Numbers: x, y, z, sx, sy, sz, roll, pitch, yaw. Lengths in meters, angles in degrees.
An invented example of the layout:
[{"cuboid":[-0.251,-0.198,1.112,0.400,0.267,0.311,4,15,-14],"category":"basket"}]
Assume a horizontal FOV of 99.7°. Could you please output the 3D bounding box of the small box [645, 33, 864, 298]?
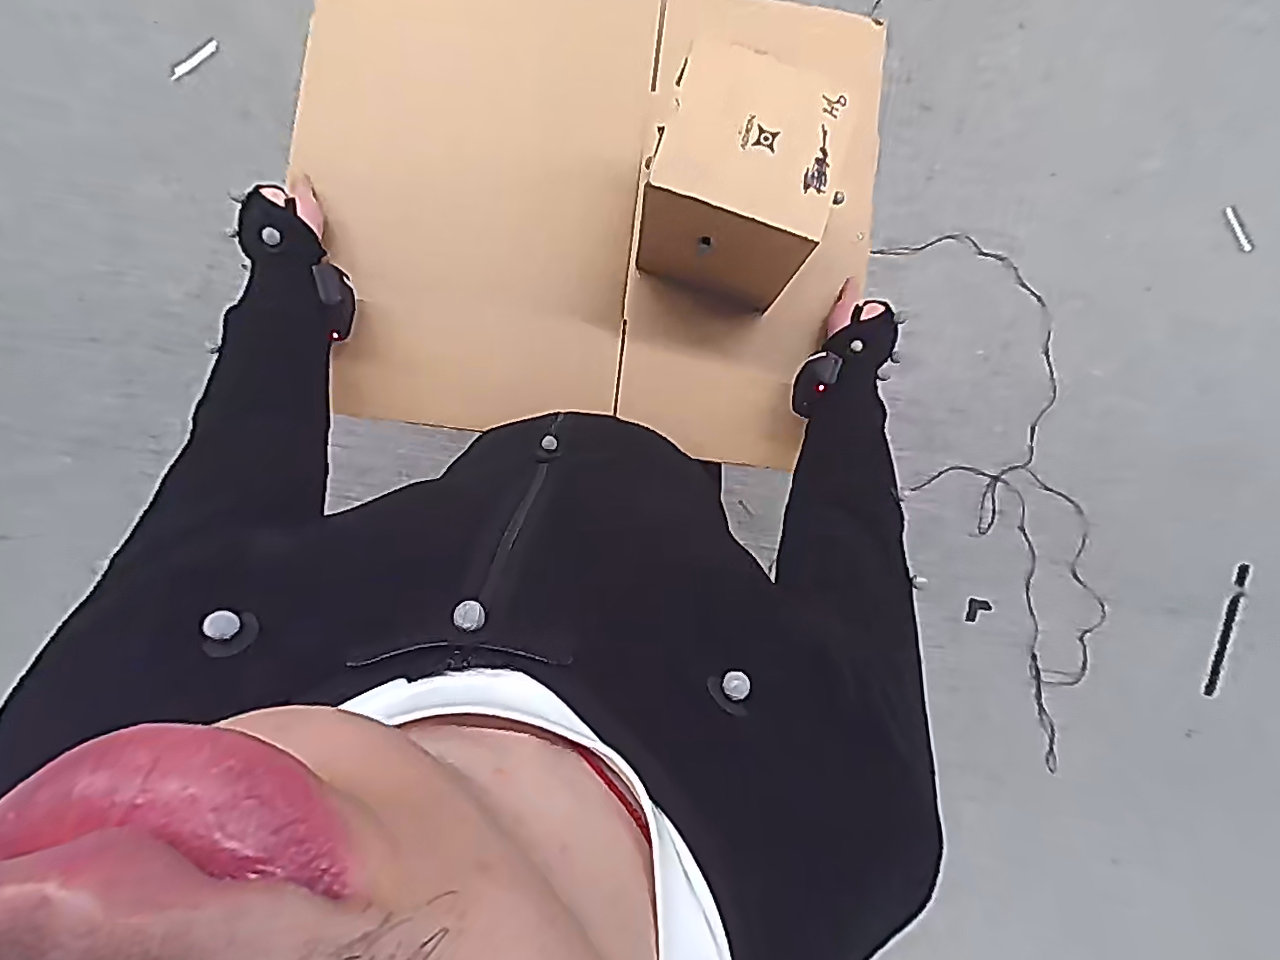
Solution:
[{"cuboid":[0.110,-0.327,0.599,0.179,0.176,0.168,17,85,-1],"category":"small box"}]
